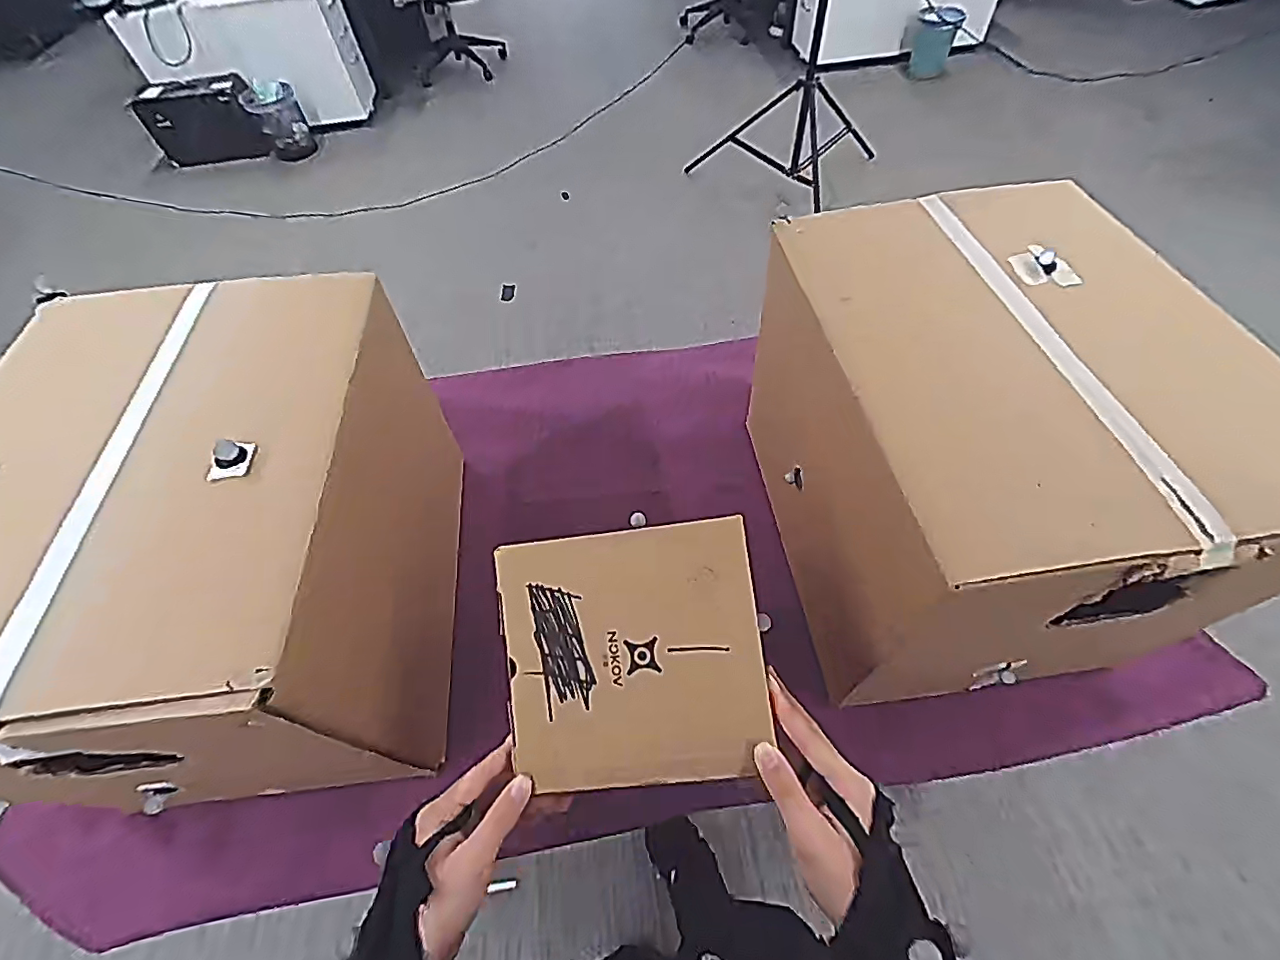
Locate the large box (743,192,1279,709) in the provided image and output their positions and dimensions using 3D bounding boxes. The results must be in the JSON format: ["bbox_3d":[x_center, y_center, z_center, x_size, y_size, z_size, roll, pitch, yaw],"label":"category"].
[{"bbox_3d":[0.314,-0.030,0.558,0.320,0.320,0.408,-8,53,-2],"label":"large box"}]
